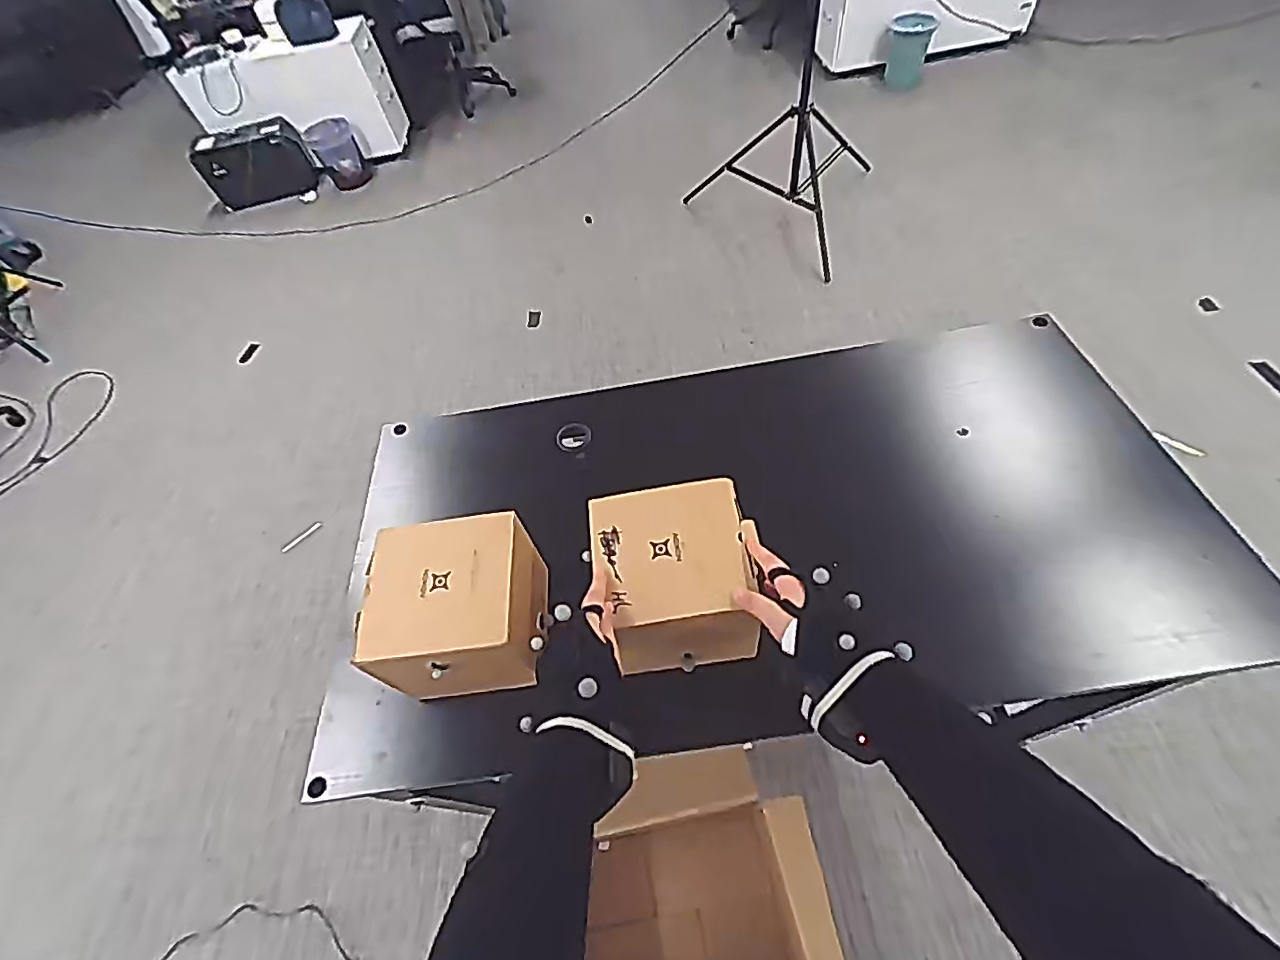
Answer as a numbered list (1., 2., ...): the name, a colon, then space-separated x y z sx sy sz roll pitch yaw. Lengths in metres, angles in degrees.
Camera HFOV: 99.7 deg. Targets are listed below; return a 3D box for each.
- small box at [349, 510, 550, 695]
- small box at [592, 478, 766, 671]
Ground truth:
1. small box: -0.219 0.158 0.673 0.179 0.176 0.168 -8 56 1
2. small box: 0.044 0.121 0.661 0.179 0.176 0.168 -9 54 2
